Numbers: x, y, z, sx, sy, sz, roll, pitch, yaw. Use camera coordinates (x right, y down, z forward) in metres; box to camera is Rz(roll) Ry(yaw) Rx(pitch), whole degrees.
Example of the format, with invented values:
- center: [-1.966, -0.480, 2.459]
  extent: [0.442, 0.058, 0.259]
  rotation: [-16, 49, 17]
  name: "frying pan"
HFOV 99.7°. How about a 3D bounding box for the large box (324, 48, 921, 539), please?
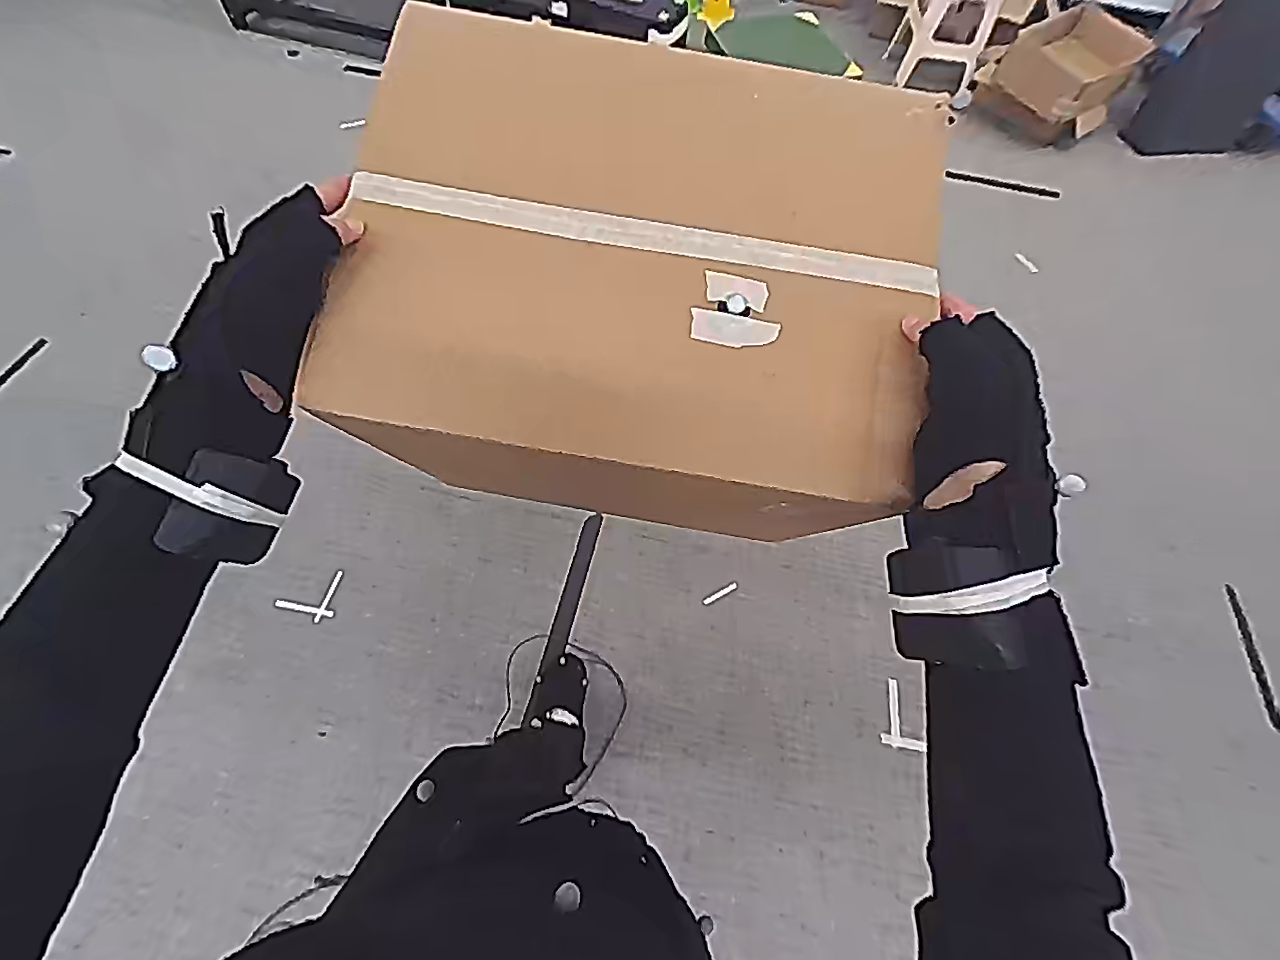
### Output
- center: [-0.005, -0.131, 0.538]
  extent: [0.408, 0.320, 0.320]
  rotation: [10, 80, -1]
  name: "large box"
